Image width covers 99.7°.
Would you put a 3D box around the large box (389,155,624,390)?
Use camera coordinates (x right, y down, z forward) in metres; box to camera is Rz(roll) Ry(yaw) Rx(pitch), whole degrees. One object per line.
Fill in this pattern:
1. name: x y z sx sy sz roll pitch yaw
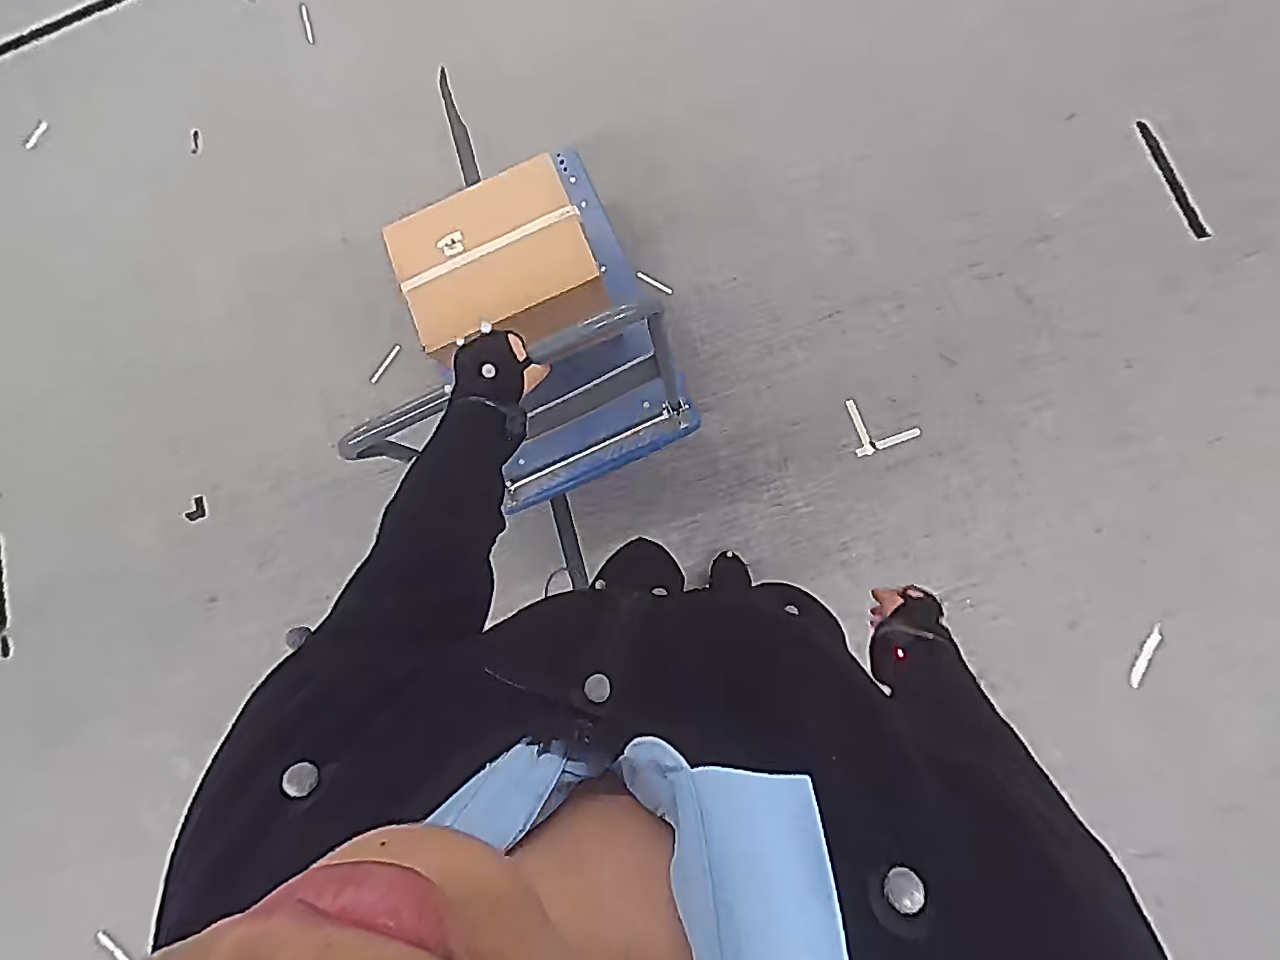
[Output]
1. large box: -0.297 -0.467 1.298 0.408 0.320 0.320 -23 80 5
